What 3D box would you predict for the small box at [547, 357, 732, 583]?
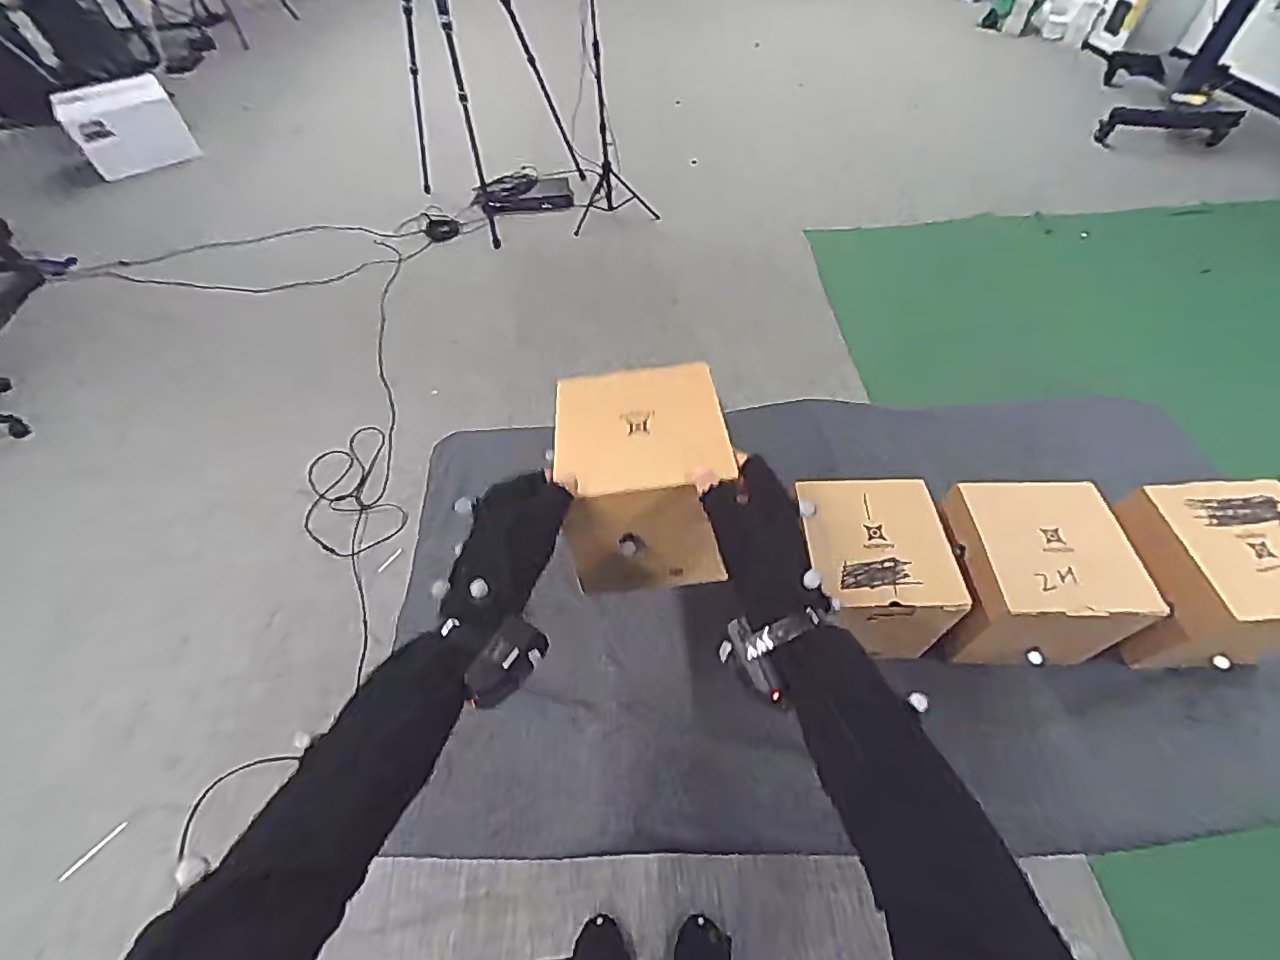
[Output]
[{"bbox_3d":[0.001,-0.004,0.577,0.168,0.176,0.179,-7,46,0],"label":"small box"}]
